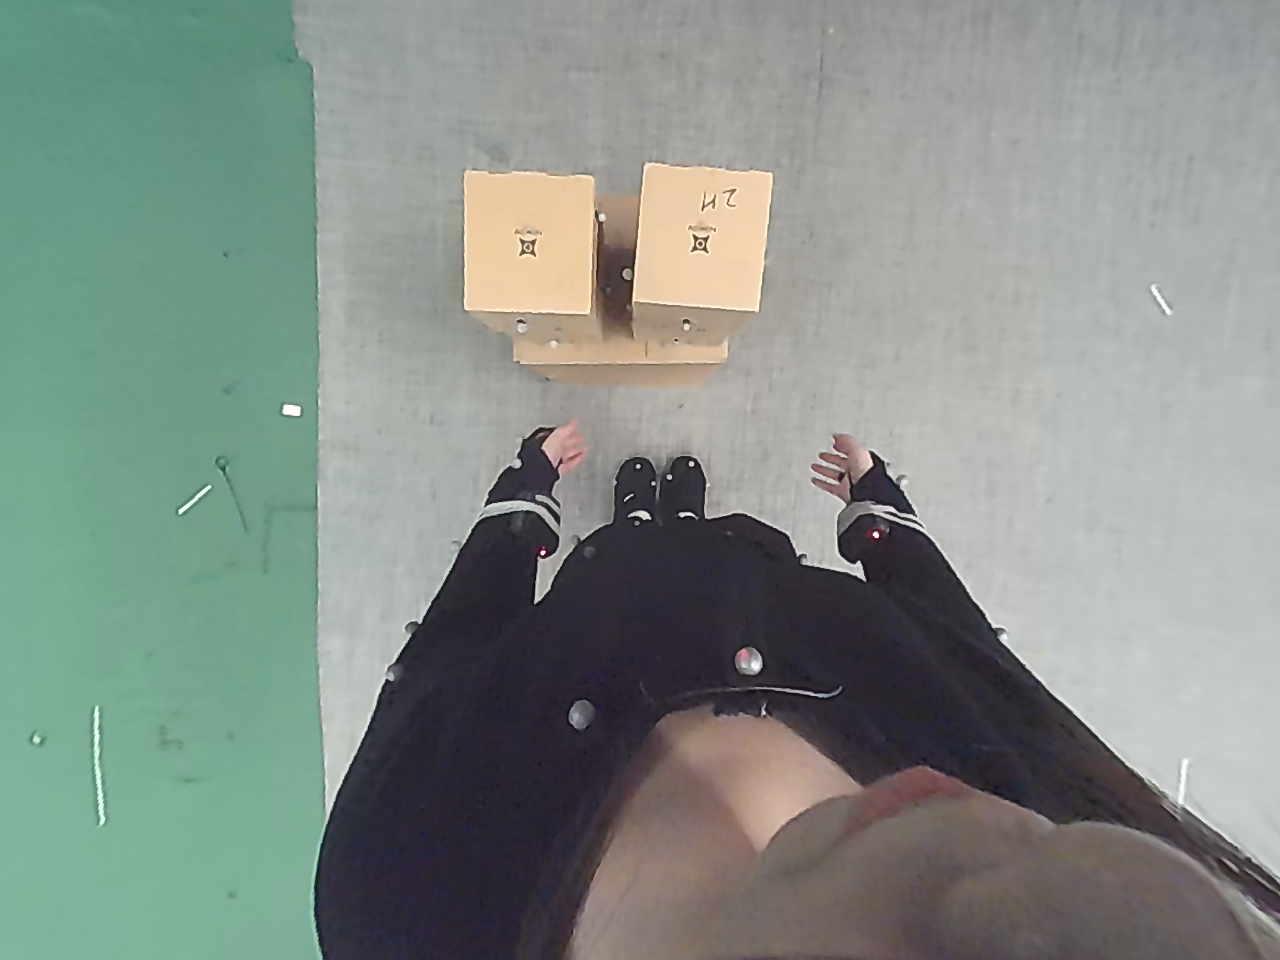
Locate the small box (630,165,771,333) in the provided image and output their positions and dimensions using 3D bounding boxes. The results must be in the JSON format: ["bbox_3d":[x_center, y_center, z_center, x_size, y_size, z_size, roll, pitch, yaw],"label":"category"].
[{"bbox_3d":[0.080,-0.315,0.776,0.168,0.176,0.179,6,96,1],"label":"small box"}]

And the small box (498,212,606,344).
[{"bbox_3d":[-0.146,-0.342,0.943,0.168,0.176,0.179,2,97,-1],"label":"small box"}]
